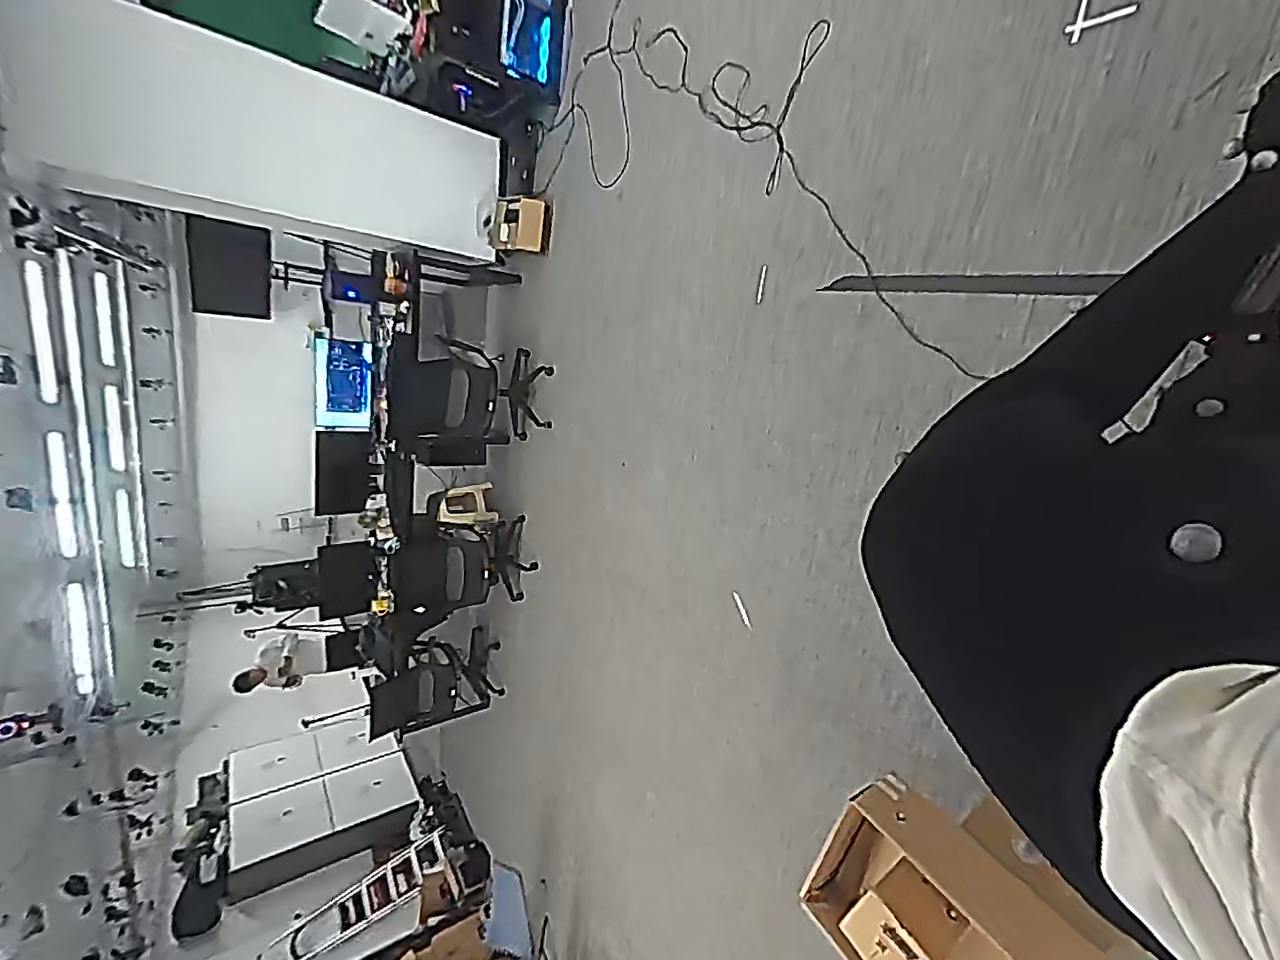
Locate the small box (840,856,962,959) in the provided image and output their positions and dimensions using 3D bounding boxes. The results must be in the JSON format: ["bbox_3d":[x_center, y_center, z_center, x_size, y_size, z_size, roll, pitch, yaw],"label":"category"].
[{"bbox_3d":[0.608,1.025,1.254,0.168,0.176,0.179,44,127,41],"label":"small box"}]
